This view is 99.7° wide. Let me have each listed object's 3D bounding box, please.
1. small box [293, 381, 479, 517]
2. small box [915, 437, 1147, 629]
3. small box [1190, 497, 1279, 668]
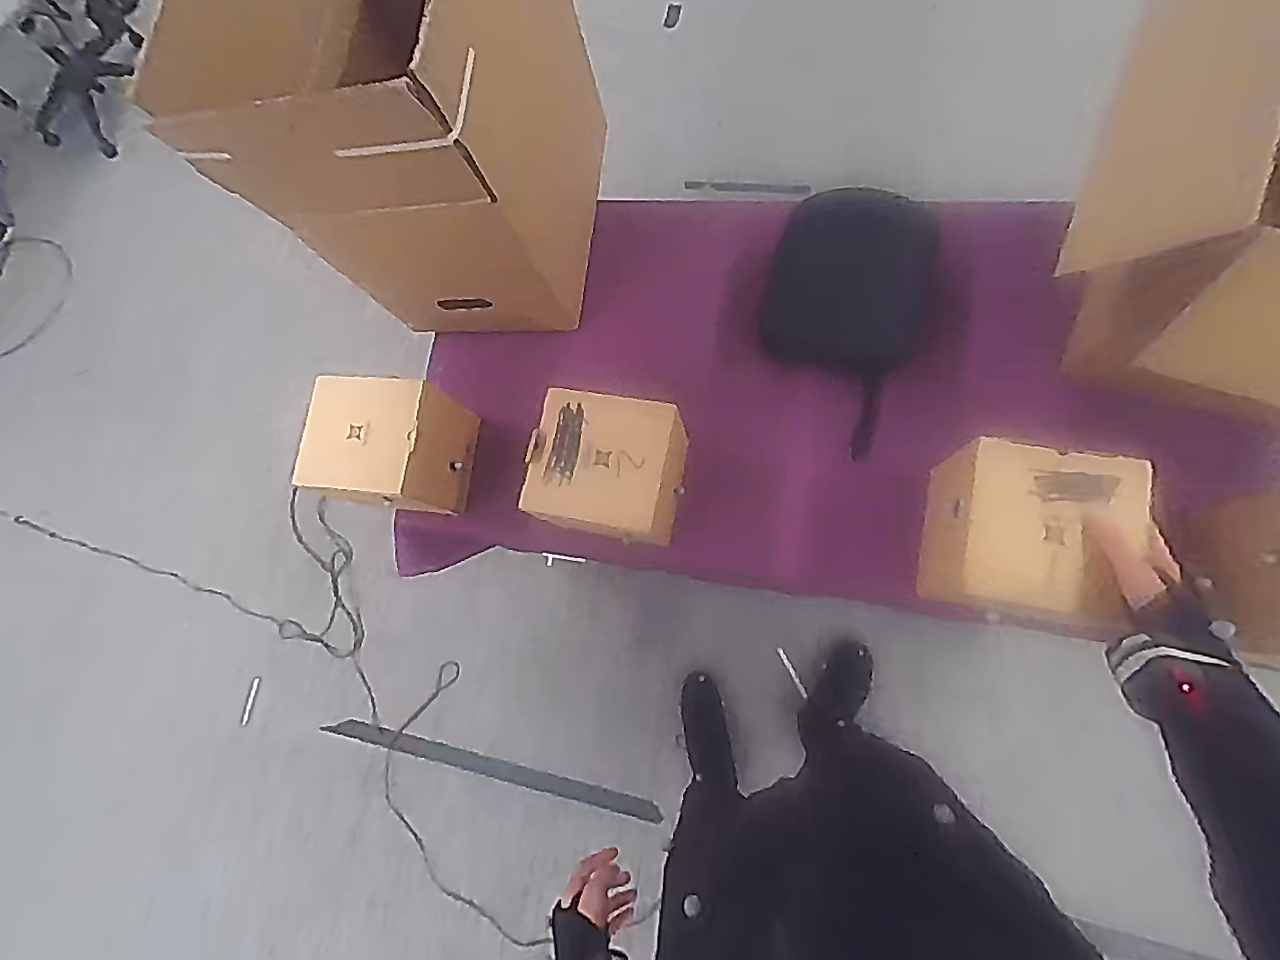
[{"bbox_3d":[-0.375,-0.040,0.826,0.179,0.176,0.168,4,78,11],"label":"small box"},{"bbox_3d":[0.442,0.066,0.637,0.168,0.176,0.179,10,80,14],"label":"small box"},{"bbox_3d":[0.734,0.113,0.565,0.168,0.176,0.179,10,79,14],"label":"small box"}]
